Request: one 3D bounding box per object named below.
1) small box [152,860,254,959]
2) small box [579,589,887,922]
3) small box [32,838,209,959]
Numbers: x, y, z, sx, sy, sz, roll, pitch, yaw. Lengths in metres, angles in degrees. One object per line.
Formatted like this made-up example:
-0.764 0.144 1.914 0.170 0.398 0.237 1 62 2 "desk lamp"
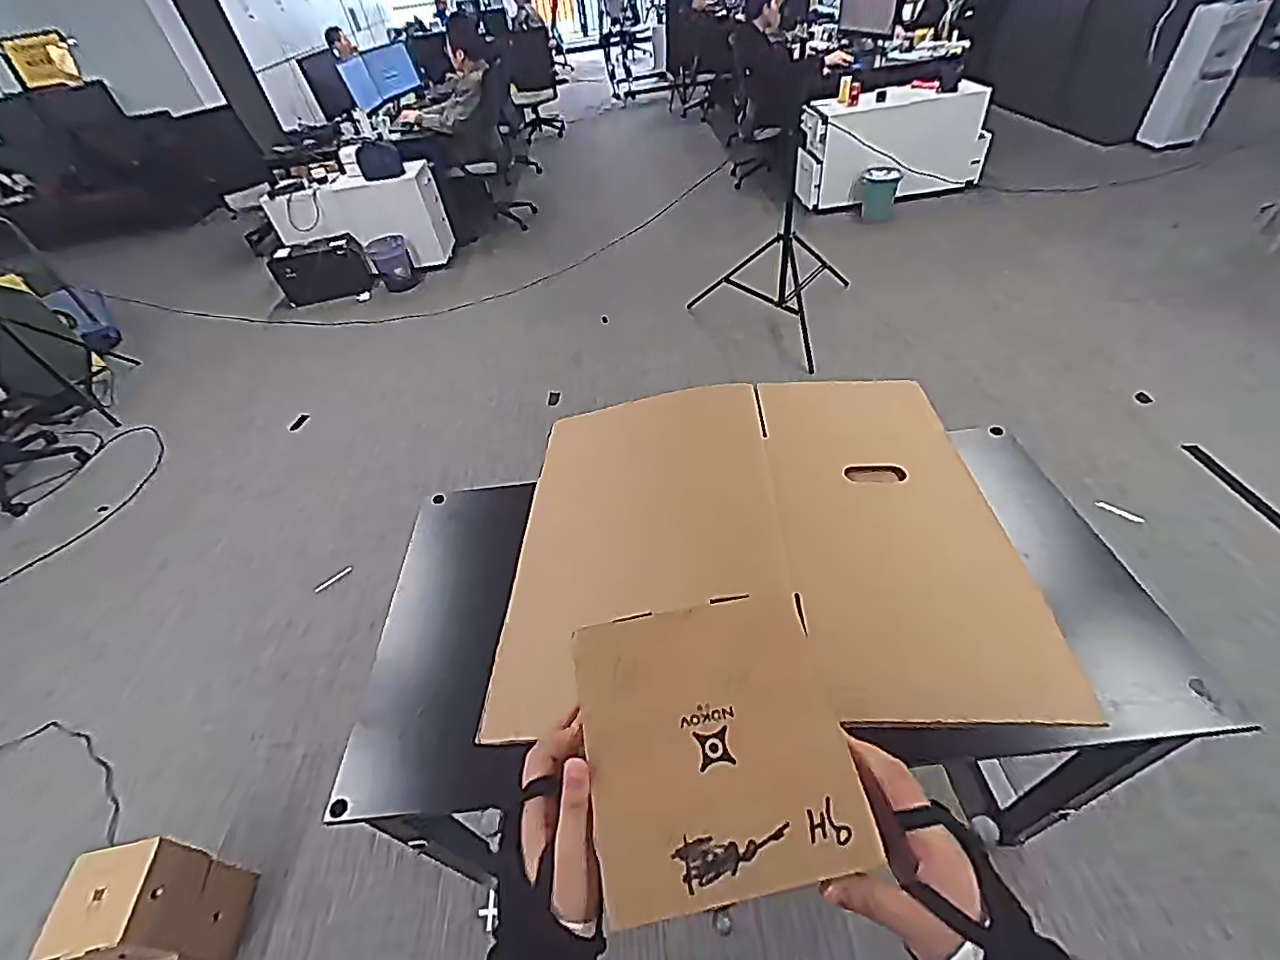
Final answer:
-1.012 0.982 1.207 0.168 0.176 0.179 -10 45 -1 "small box"
0.050 0.209 0.416 0.168 0.176 0.179 -10 56 -4 "small box"
-1.033 0.864 1.098 0.168 0.176 0.179 -11 43 -4 "small box"
